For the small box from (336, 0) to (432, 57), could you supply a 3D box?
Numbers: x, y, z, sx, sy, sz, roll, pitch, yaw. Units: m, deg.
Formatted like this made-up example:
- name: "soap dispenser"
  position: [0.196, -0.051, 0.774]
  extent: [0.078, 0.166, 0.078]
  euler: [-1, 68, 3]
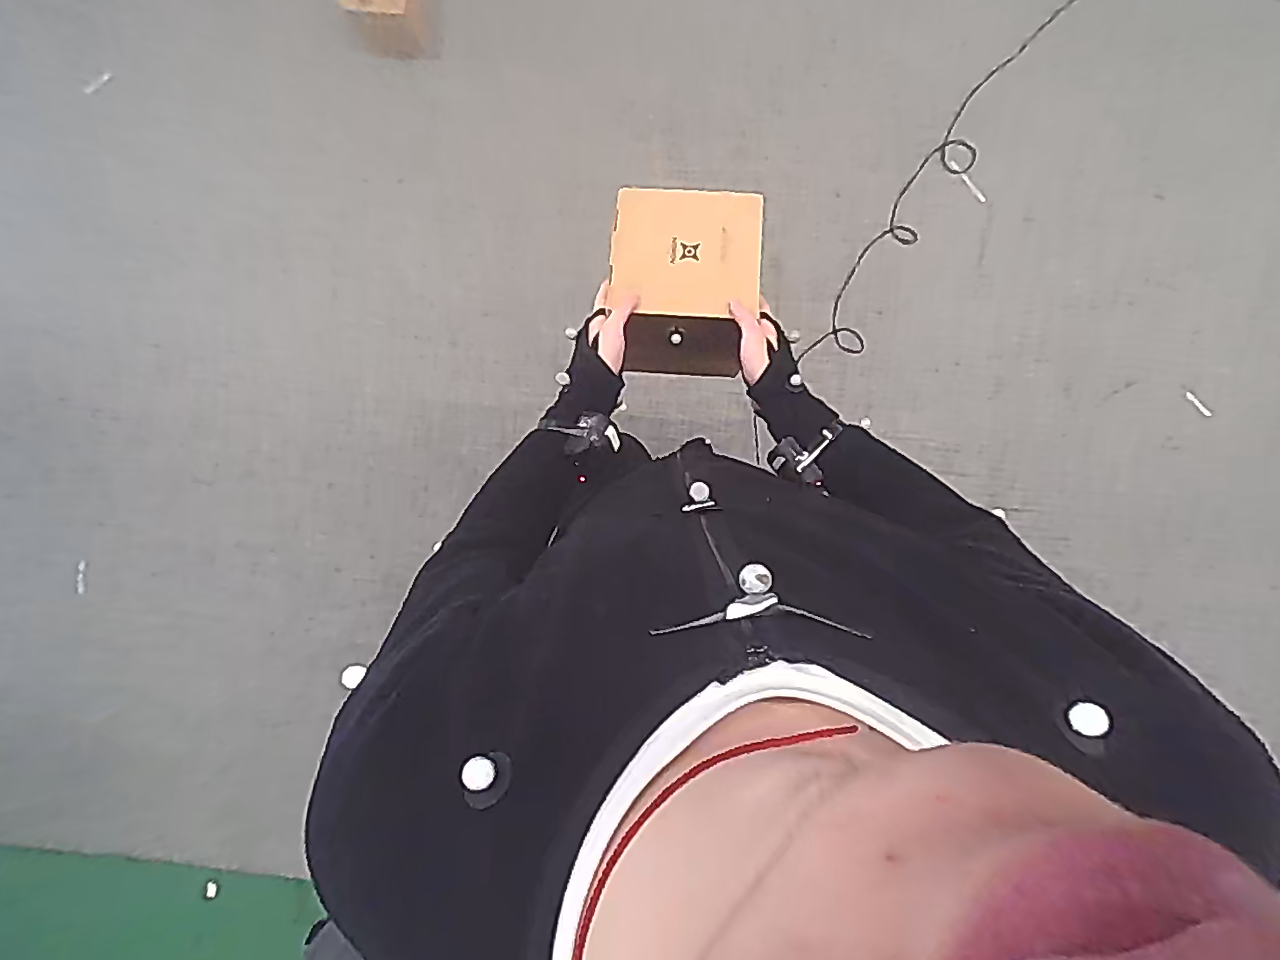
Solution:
- name: "small box"
  position: [-0.649, -1.242, 1.385]
  extent: [0.168, 0.176, 0.179]
  euler: [7, 95, 1]

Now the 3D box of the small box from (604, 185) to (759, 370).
- name: "small box"
  position: [0.052, -0.253, 0.708]
  extent: [0.179, 0.176, 0.168]
  euler: [3, 78, 1]
